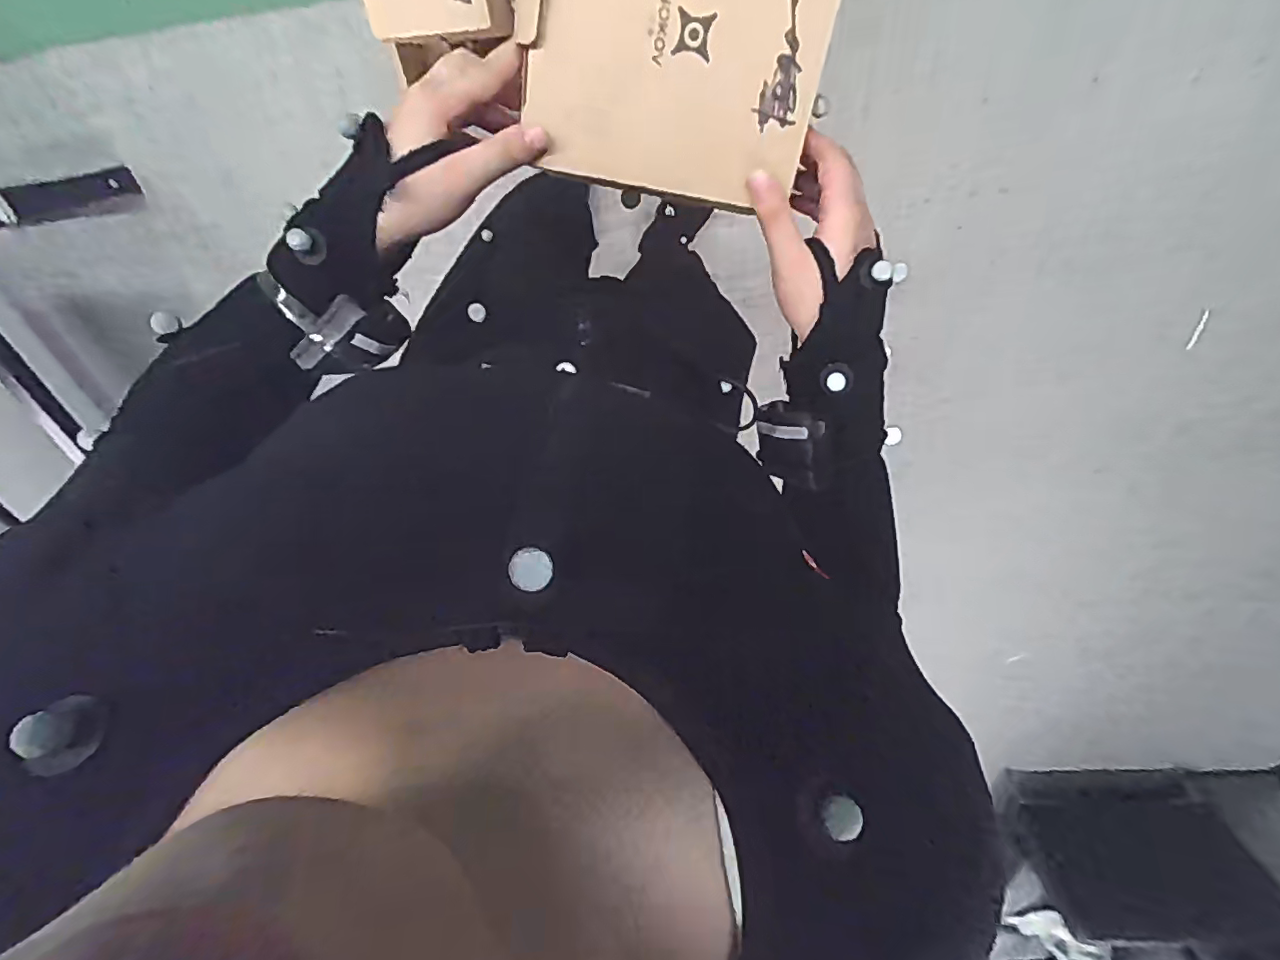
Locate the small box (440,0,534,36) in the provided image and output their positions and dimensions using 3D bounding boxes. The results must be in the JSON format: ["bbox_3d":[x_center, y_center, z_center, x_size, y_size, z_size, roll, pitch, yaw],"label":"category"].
[{"bbox_3d":[-0.288,-0.850,0.895,0.179,0.176,0.168,-4,129,4],"label":"small box"}]

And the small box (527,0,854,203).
[{"bbox_3d":[0.032,-0.295,0.372,0.179,0.176,0.168,9,117,-3],"label":"small box"}]

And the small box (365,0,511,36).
[{"bbox_3d":[-0.291,-0.745,0.769,0.179,0.176,0.168,-2,128,4],"label":"small box"}]
